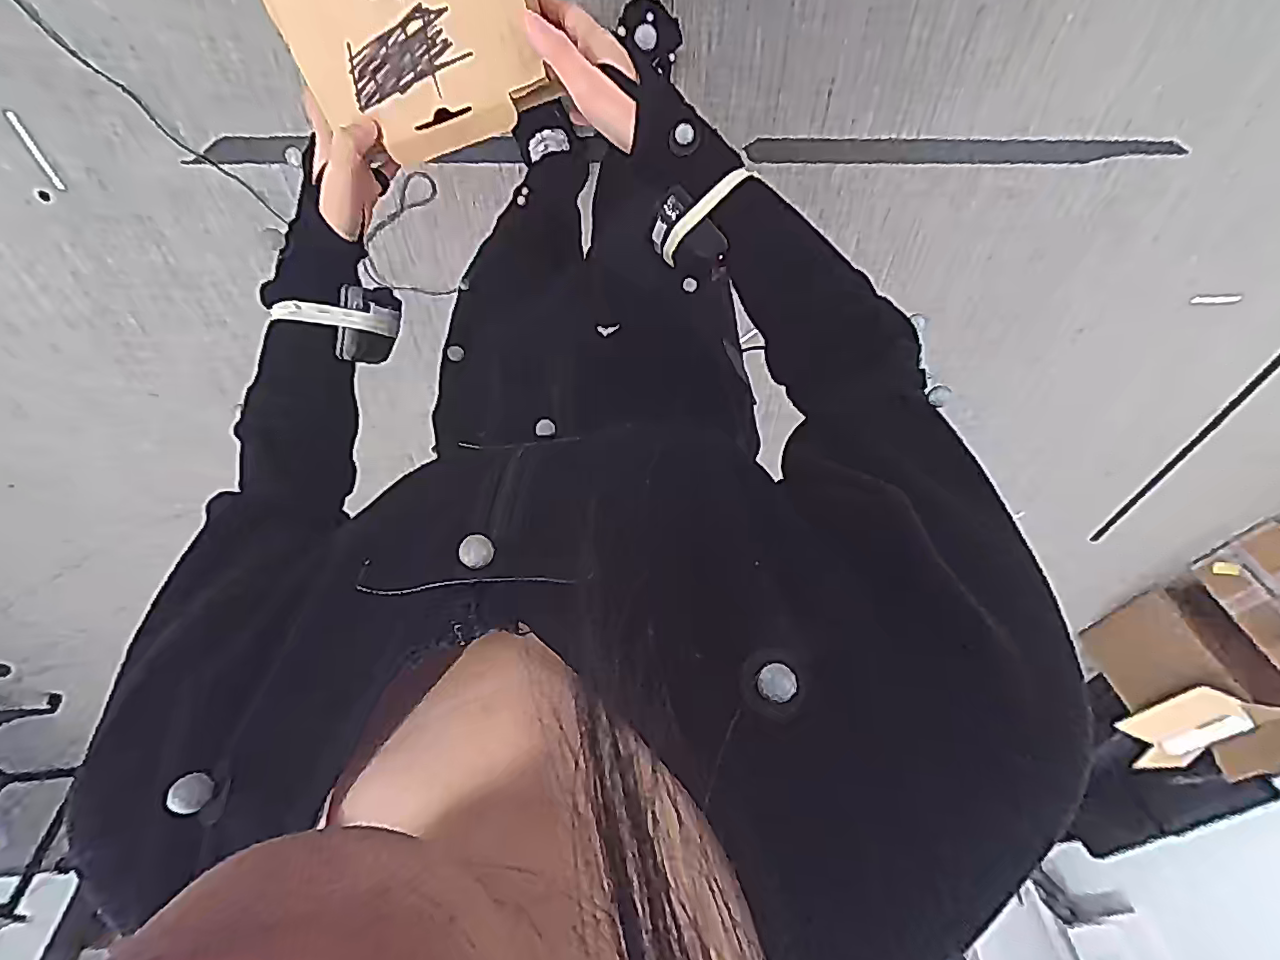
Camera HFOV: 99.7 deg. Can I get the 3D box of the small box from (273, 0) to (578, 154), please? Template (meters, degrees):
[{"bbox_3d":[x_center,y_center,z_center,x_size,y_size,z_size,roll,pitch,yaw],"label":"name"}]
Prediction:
[{"bbox_3d":[-0.156,-0.372,0.405,0.168,0.176,0.179,-13,123,11],"label":"small box"}]
